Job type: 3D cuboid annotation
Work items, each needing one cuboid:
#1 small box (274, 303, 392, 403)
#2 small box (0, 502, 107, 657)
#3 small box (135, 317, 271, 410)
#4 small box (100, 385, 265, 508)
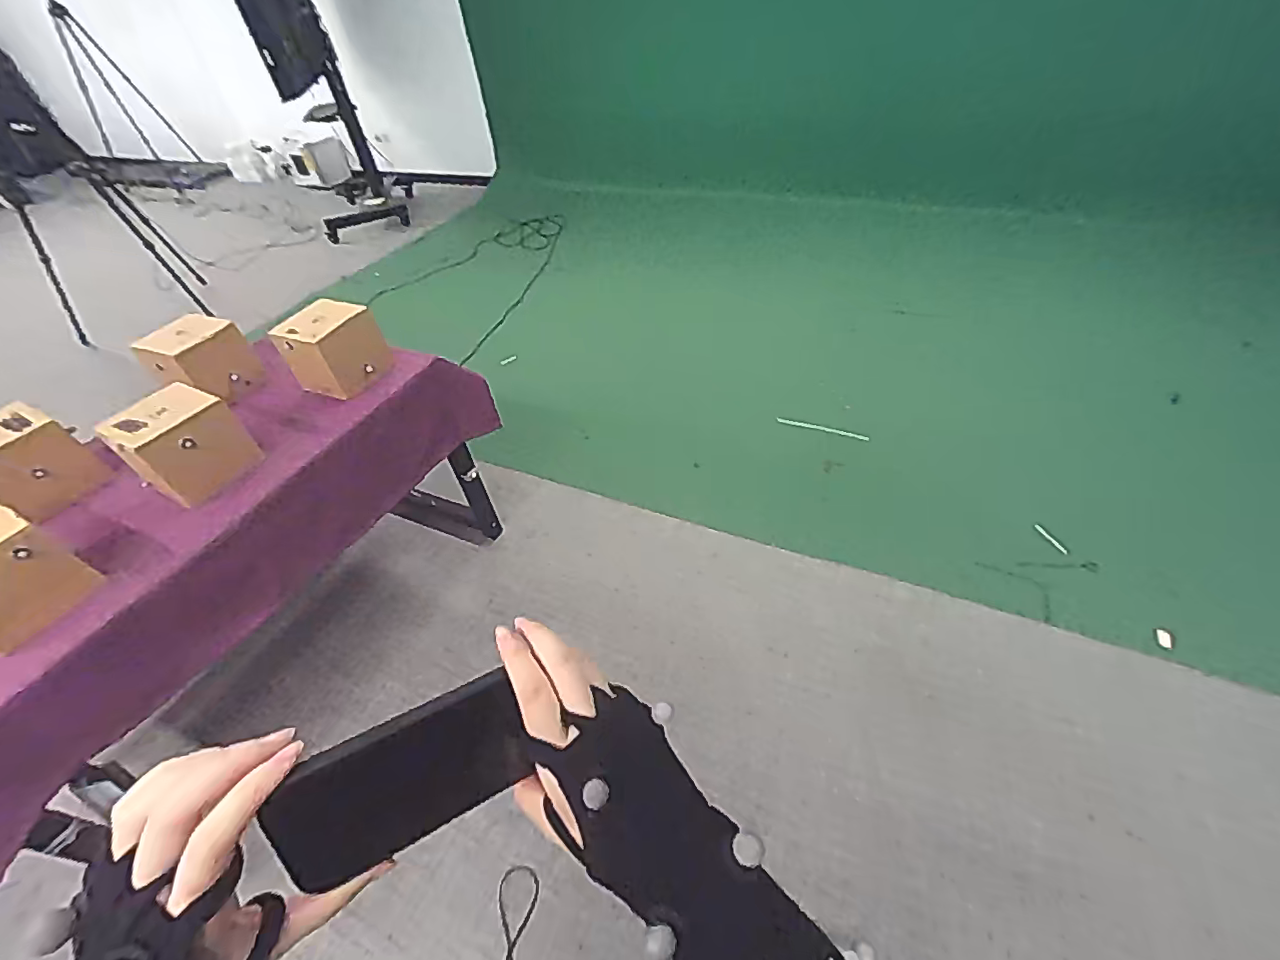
[{"bbox_3d":[-0.763,-0.323,1.370,0.168,0.176,0.179,15,49,21],"label":"small box"},{"bbox_3d":[-1.091,0.169,0.921,0.168,0.176,0.179,17,48,22],"label":"small box"},{"bbox_3d":[-1.107,-0.294,1.383,0.179,0.176,0.168,14,49,19],"label":"small box"},{"bbox_3d":[-0.951,-0.069,1.141,0.168,0.176,0.179,18,49,23],"label":"small box"}]
